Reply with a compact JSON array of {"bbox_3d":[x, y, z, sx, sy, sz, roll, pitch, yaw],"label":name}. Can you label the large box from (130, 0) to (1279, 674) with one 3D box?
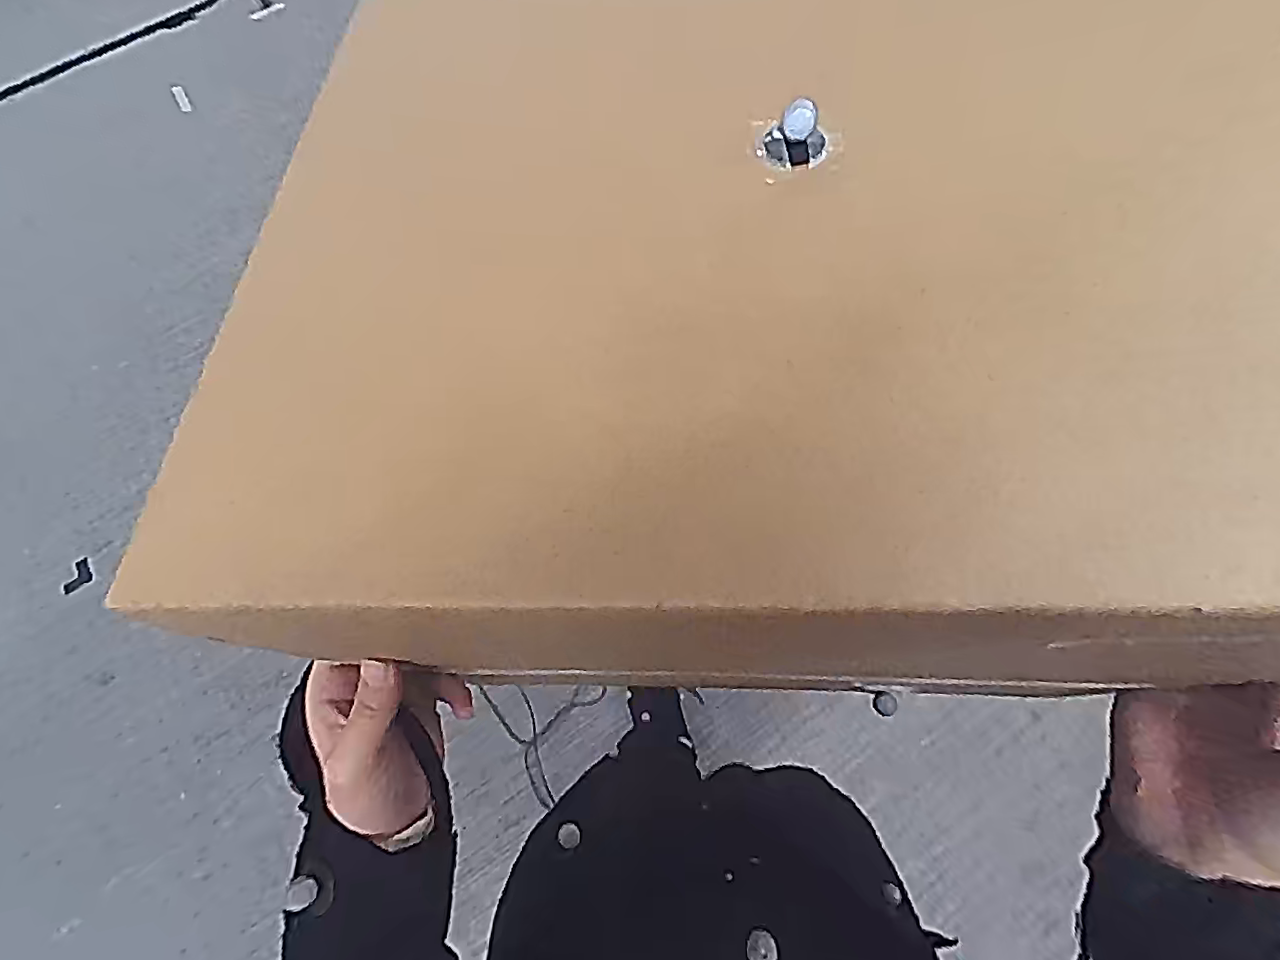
[{"bbox_3d":[0.061,-0.058,0.329,0.408,0.320,0.320,-3,67,6],"label":"large box"}]
